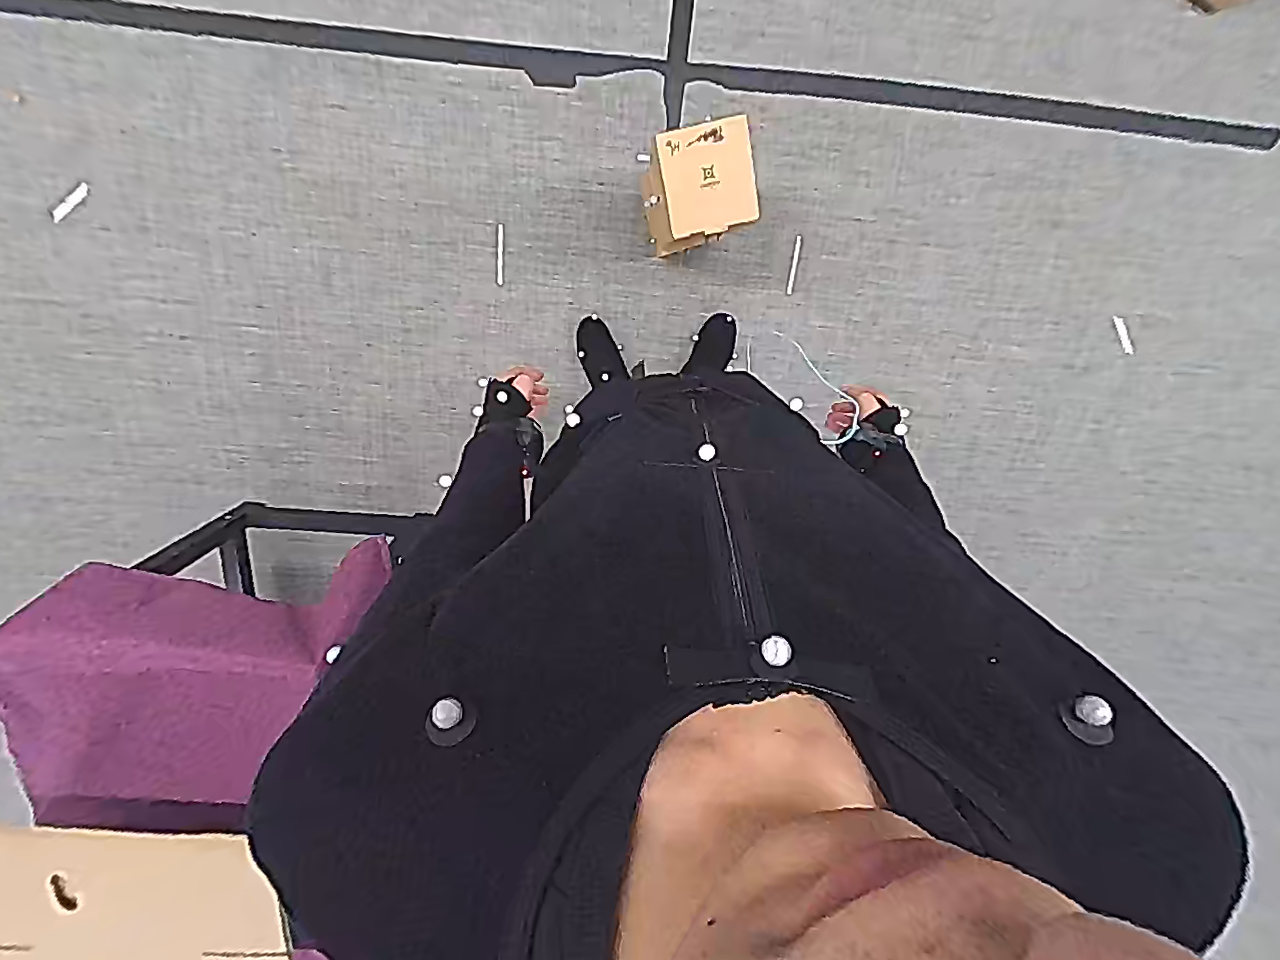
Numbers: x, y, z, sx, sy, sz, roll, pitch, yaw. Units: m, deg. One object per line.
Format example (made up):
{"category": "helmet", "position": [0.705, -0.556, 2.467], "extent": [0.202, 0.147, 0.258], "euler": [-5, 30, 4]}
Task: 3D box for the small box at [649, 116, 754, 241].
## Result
{"category": "small box", "position": [0.116, -0.573, 1.053], "extent": [0.168, 0.176, 0.179], "euler": [-12, 111, 1]}
